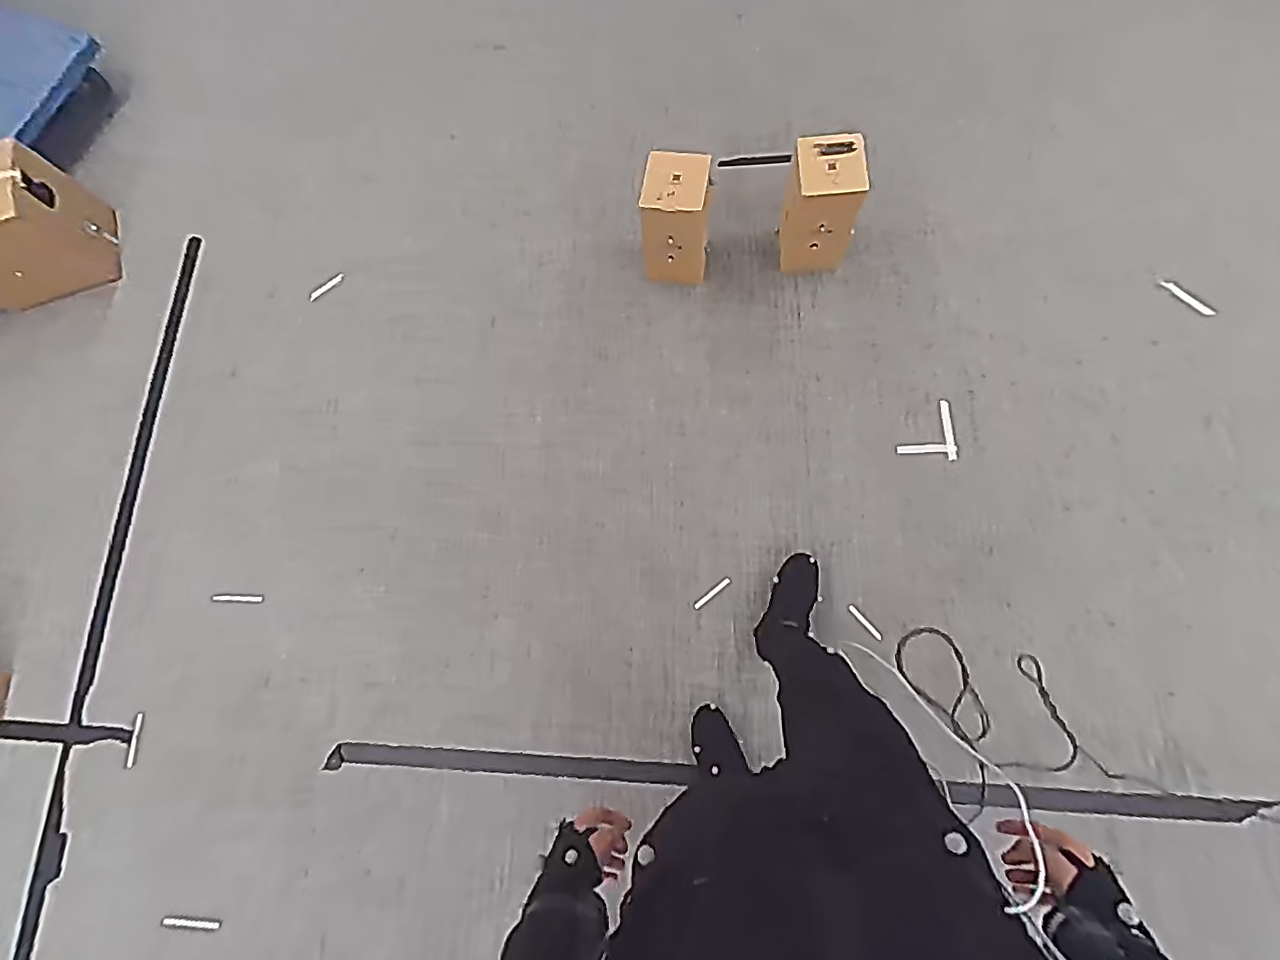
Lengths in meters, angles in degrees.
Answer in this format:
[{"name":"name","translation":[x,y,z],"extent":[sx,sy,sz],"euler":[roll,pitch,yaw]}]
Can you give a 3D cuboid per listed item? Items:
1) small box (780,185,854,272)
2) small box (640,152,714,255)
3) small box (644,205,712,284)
[{"name":"small box","translation":[0.511,-0.732,1.592],"extent":[0.179,0.176,0.168],"euler":[-1,77,4]},{"name":"small box","translation":[0.102,-0.745,1.464],"extent":[0.168,0.176,0.179],"euler":[9,78,9]},{"name":"small box","translation":[0.117,-0.709,1.625],"extent":[0.179,0.176,0.168],"euler":[7,78,8]}]
